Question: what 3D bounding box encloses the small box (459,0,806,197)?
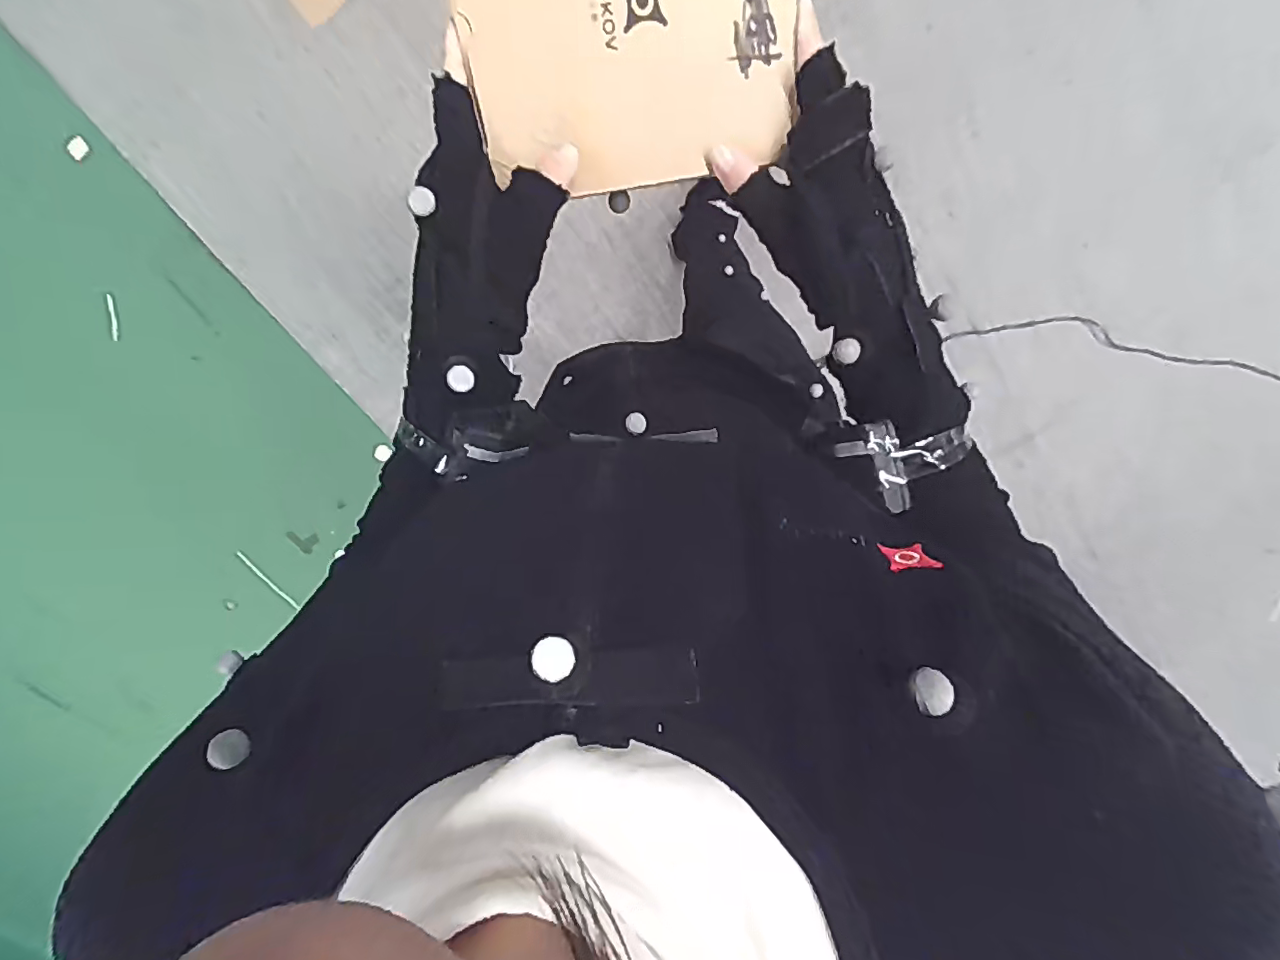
[{"bbox_3d":[-0.009,-0.289,0.344,0.179,0.176,0.168,-11,115,2],"label":"small box"}]
